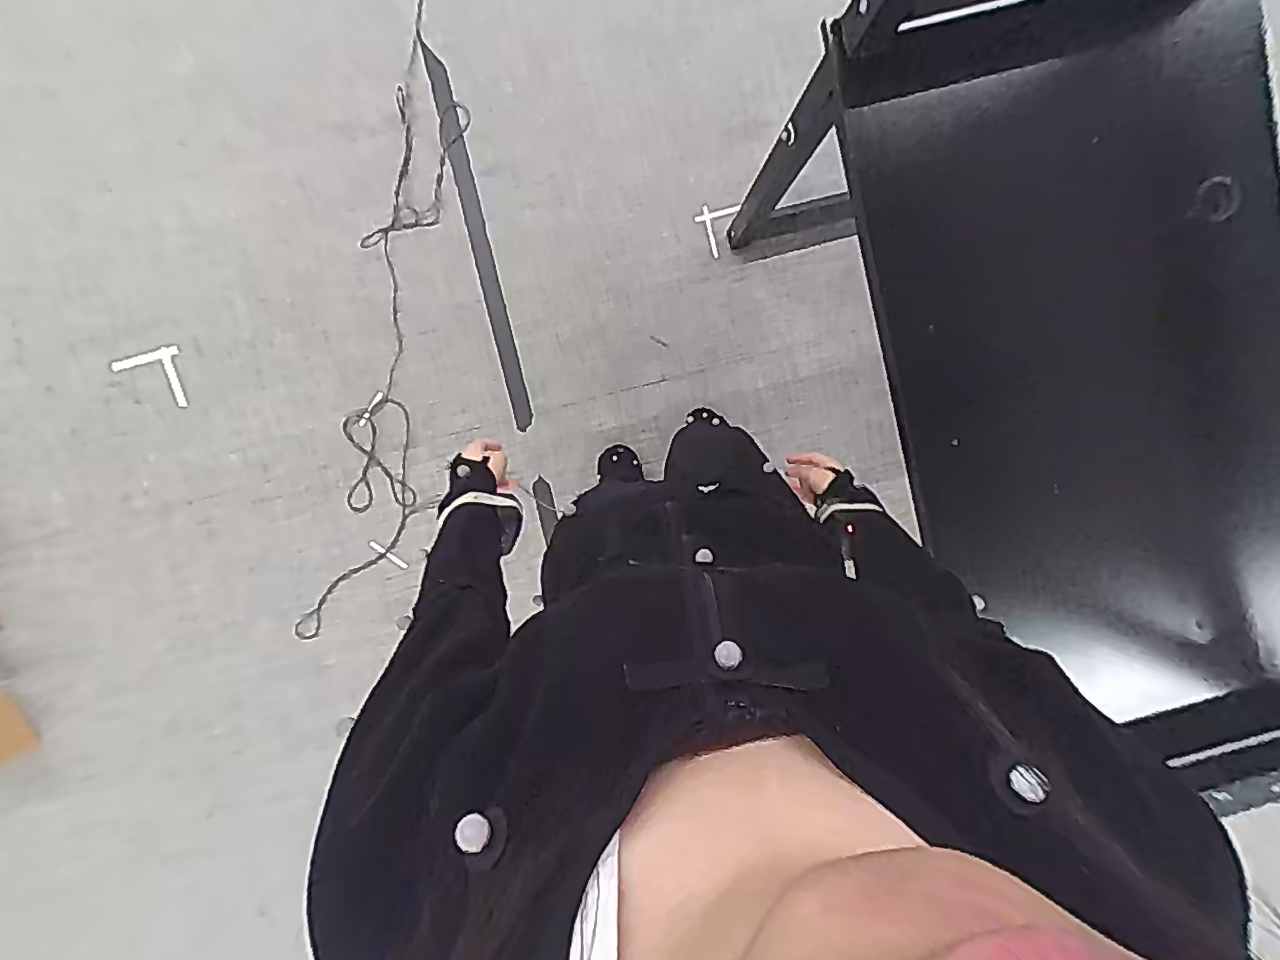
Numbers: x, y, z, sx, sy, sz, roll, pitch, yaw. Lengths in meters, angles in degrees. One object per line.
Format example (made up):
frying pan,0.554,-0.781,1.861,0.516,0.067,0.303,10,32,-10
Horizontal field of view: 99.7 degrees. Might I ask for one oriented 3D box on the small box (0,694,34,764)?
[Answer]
small box,-1.739,0.681,1.378,0.168,0.176,0.179,-26,97,-1
